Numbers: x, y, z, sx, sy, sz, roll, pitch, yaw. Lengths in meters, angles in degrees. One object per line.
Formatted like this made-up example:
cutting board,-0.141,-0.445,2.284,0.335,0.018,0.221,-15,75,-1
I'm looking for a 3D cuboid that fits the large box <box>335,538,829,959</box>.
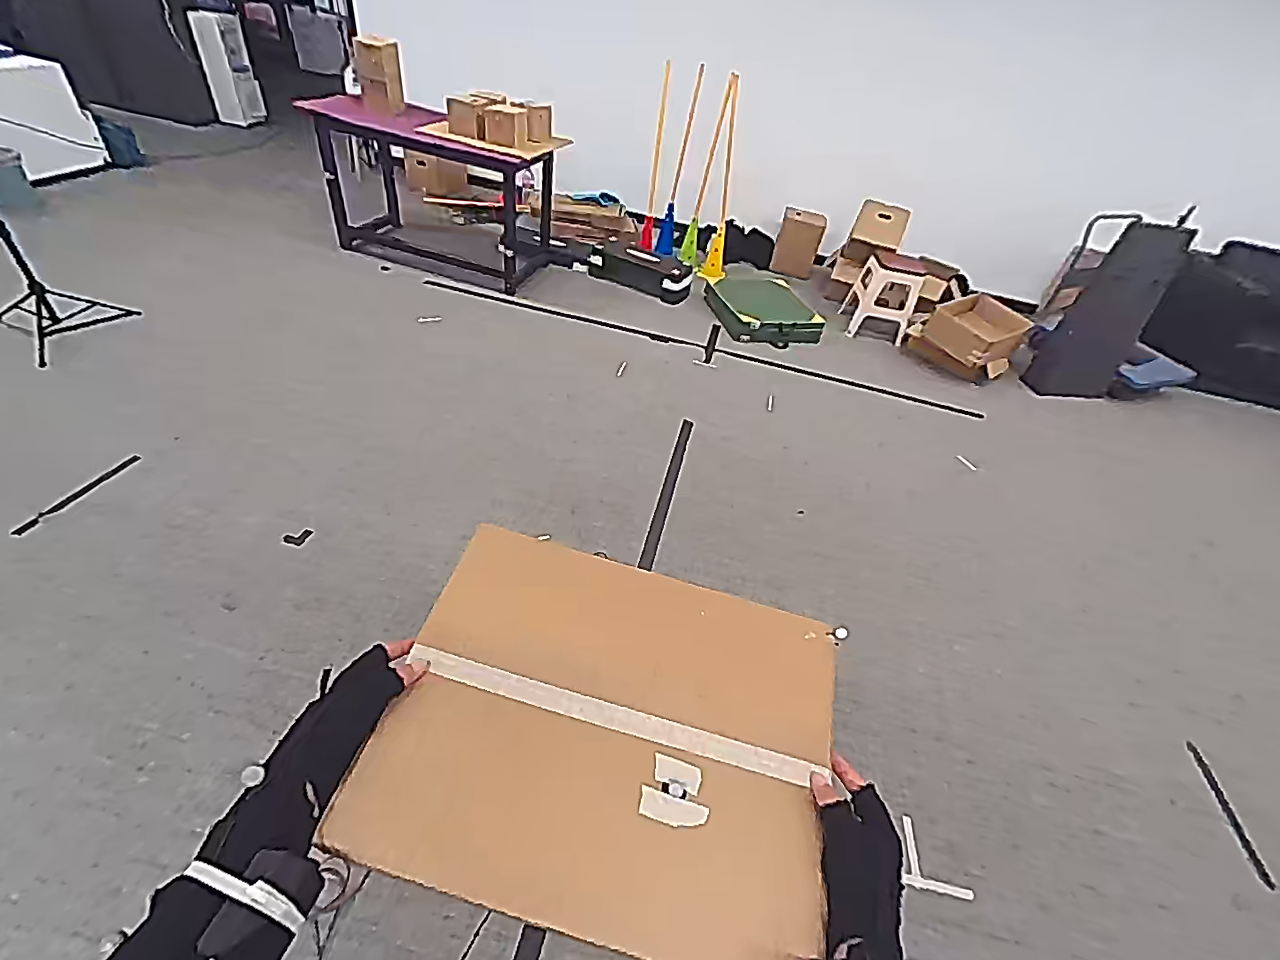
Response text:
large box,-0.040,0.319,0.626,0.408,0.320,0.320,16,52,3
